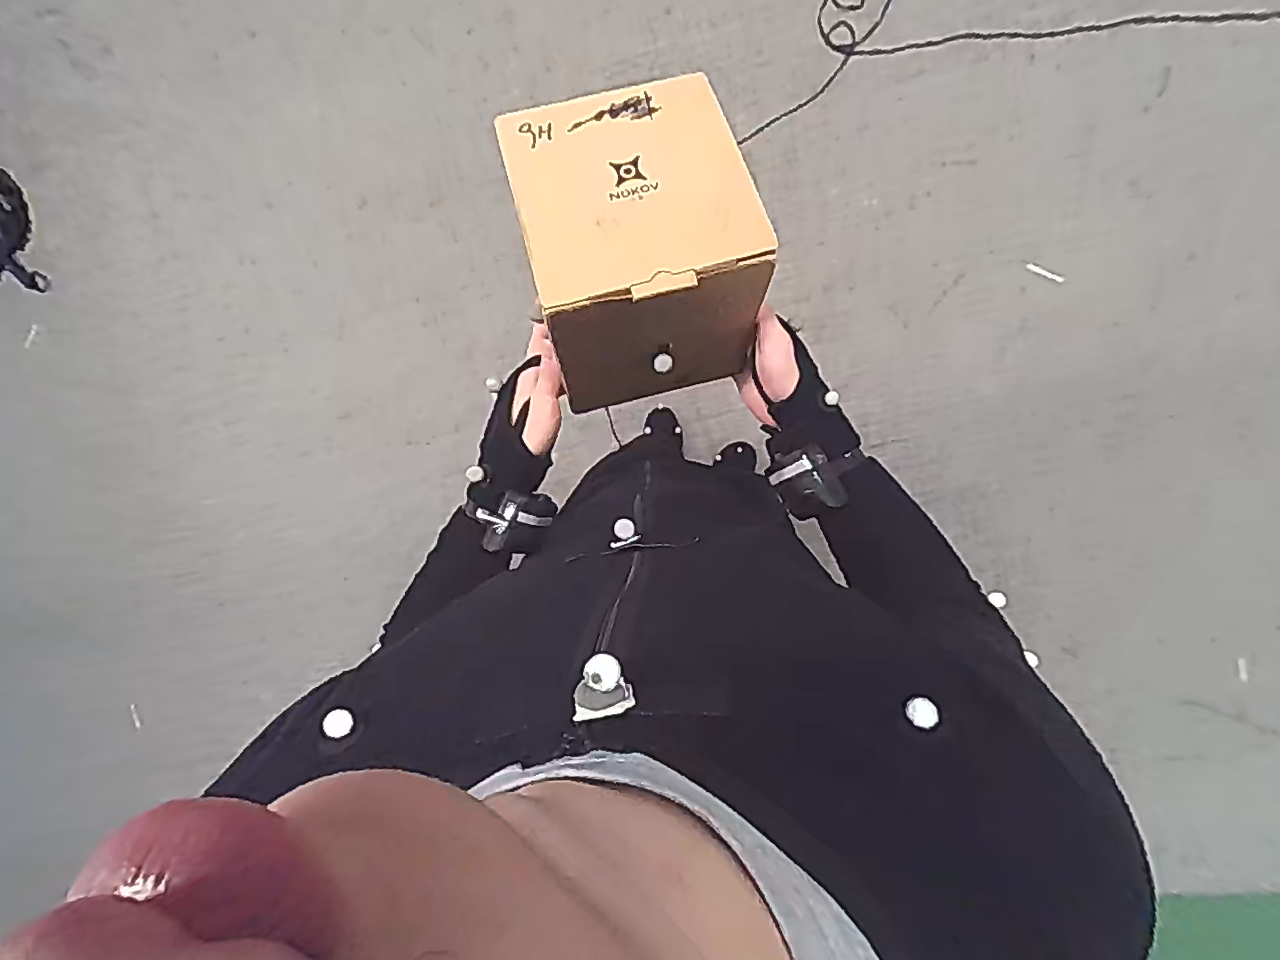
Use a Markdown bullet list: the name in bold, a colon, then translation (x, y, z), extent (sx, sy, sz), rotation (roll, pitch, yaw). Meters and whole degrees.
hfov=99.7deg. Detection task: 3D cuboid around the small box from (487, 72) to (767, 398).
- **small box**: translation (-0.012, -0.183, 0.452), extent (0.168, 0.176, 0.179), rotation (-14, 75, -4)
